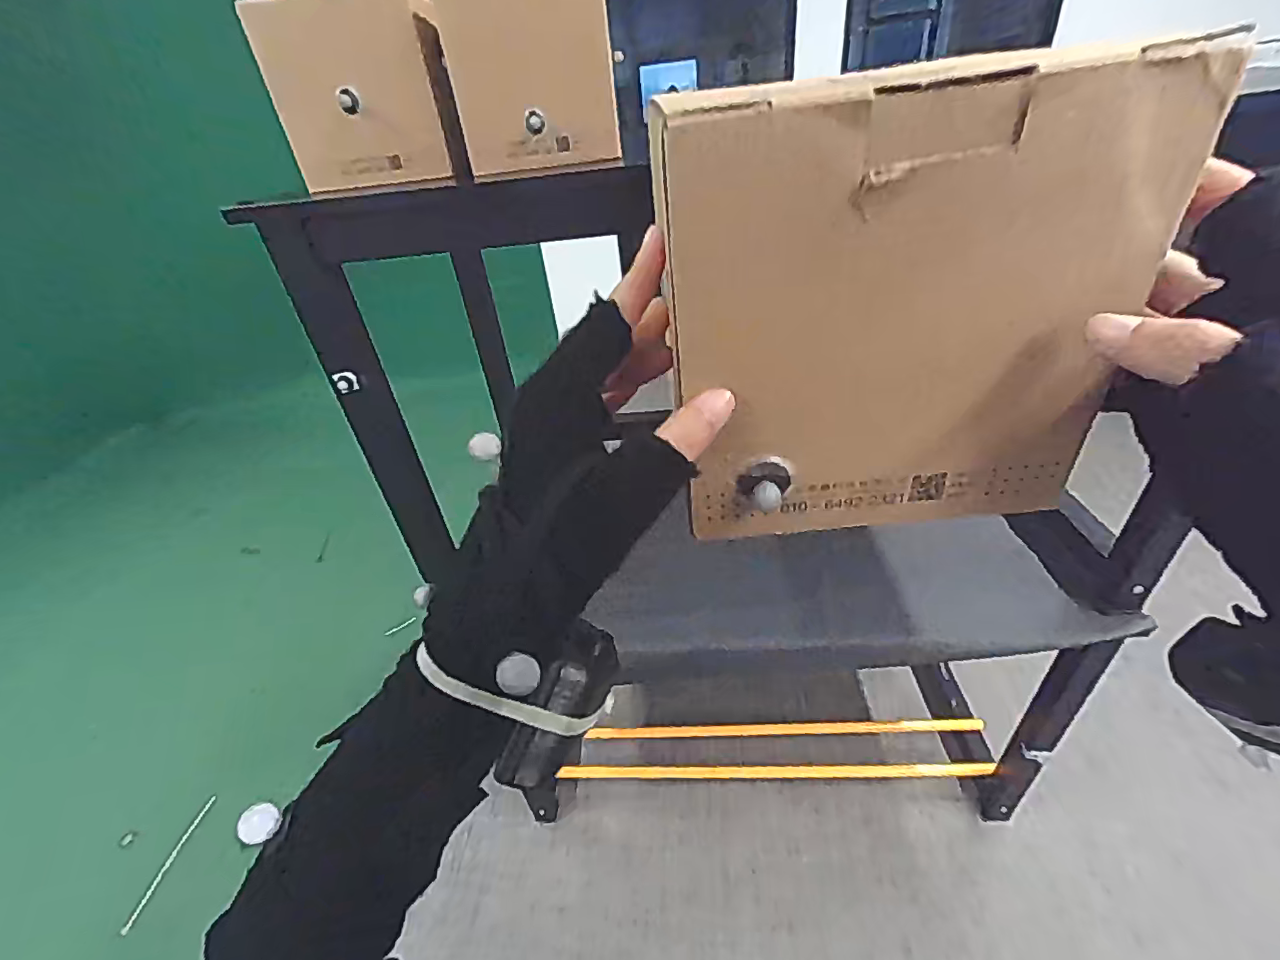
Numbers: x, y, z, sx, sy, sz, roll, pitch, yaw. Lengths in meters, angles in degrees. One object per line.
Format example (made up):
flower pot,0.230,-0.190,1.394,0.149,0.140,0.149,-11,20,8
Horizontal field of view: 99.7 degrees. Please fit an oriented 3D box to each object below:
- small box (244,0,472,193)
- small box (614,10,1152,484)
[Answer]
small box,-0.314,-0.452,0.652,0.168,0.176,0.179,-6,34,-1
small box,0.082,-0.108,0.278,0.168,0.176,0.179,-5,34,3
